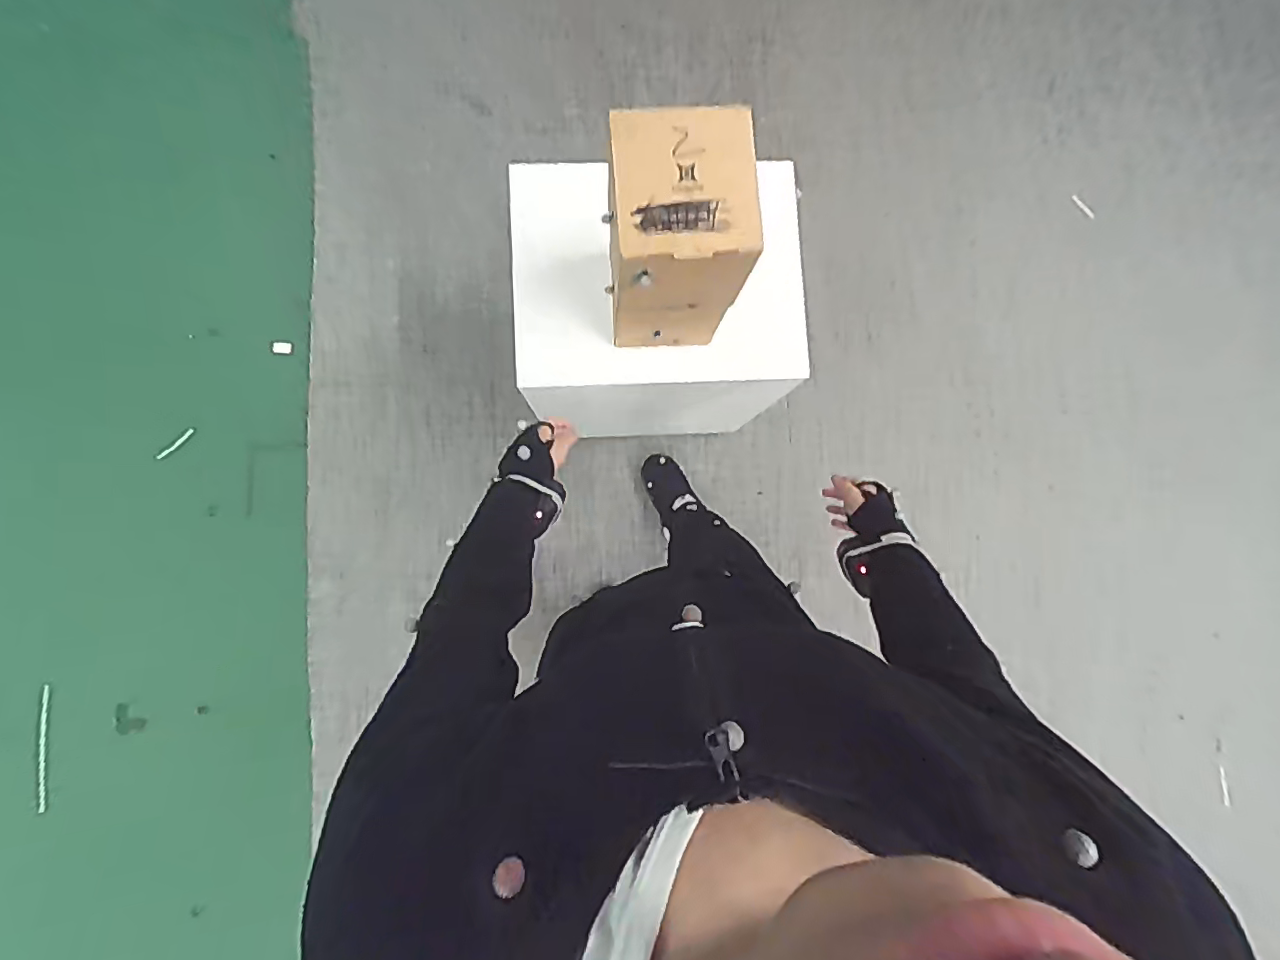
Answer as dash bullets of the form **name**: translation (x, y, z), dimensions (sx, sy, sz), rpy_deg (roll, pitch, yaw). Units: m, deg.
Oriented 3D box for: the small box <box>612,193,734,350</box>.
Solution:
- **small box**: translation (0.042, -0.316, 0.842), dimensions (0.168, 0.176, 0.179), rpy_deg (-3, 84, -3)
